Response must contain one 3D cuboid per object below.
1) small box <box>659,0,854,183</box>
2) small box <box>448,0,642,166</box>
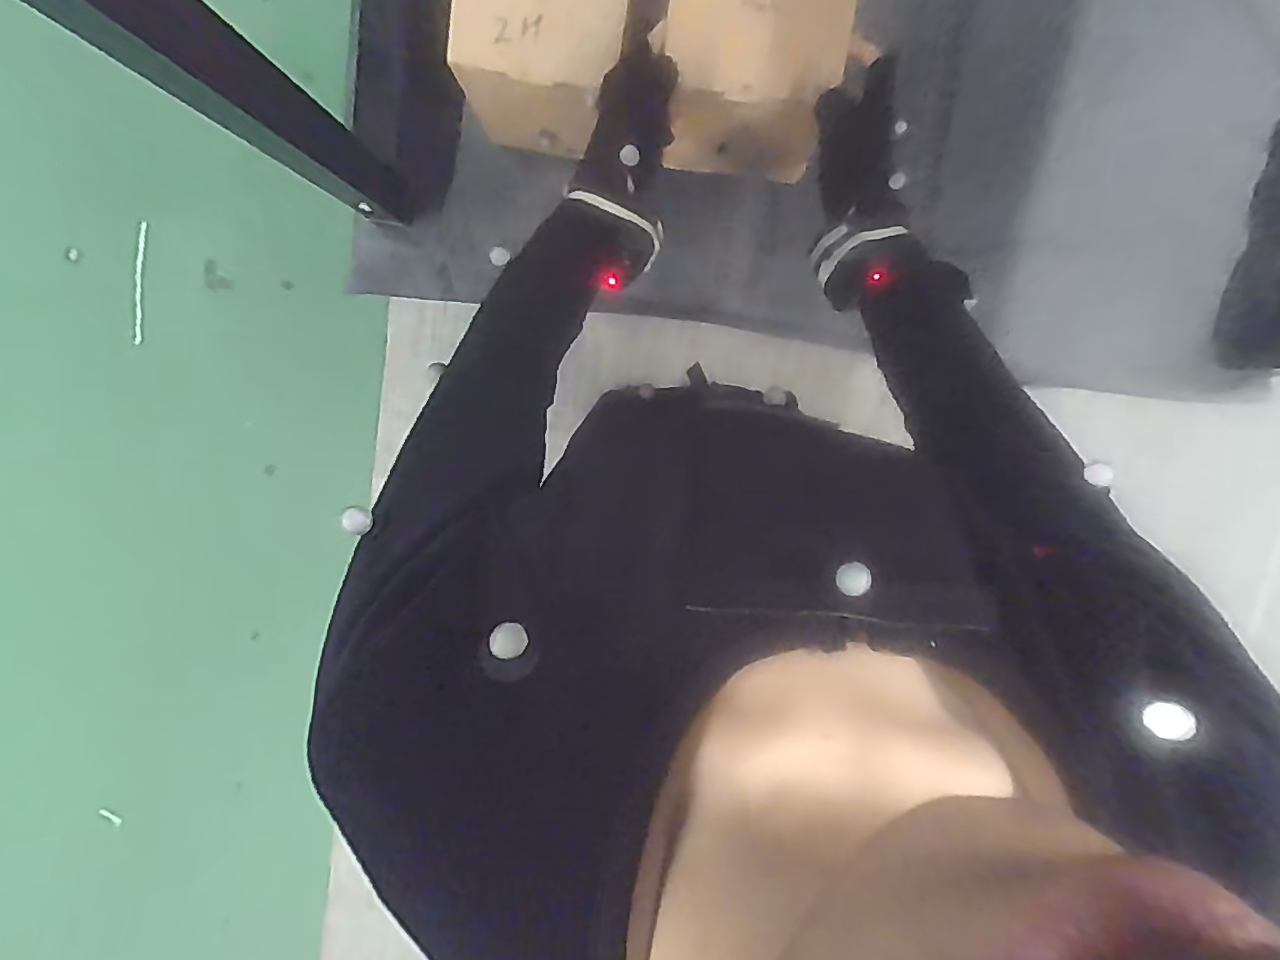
[{"bbox_3d":[0.112,-0.441,0.561,0.168,0.176,0.179,8,99,2],"label":"small box"},{"bbox_3d":[-0.090,-0.481,0.589,0.168,0.176,0.179,10,98,-1],"label":"small box"}]
